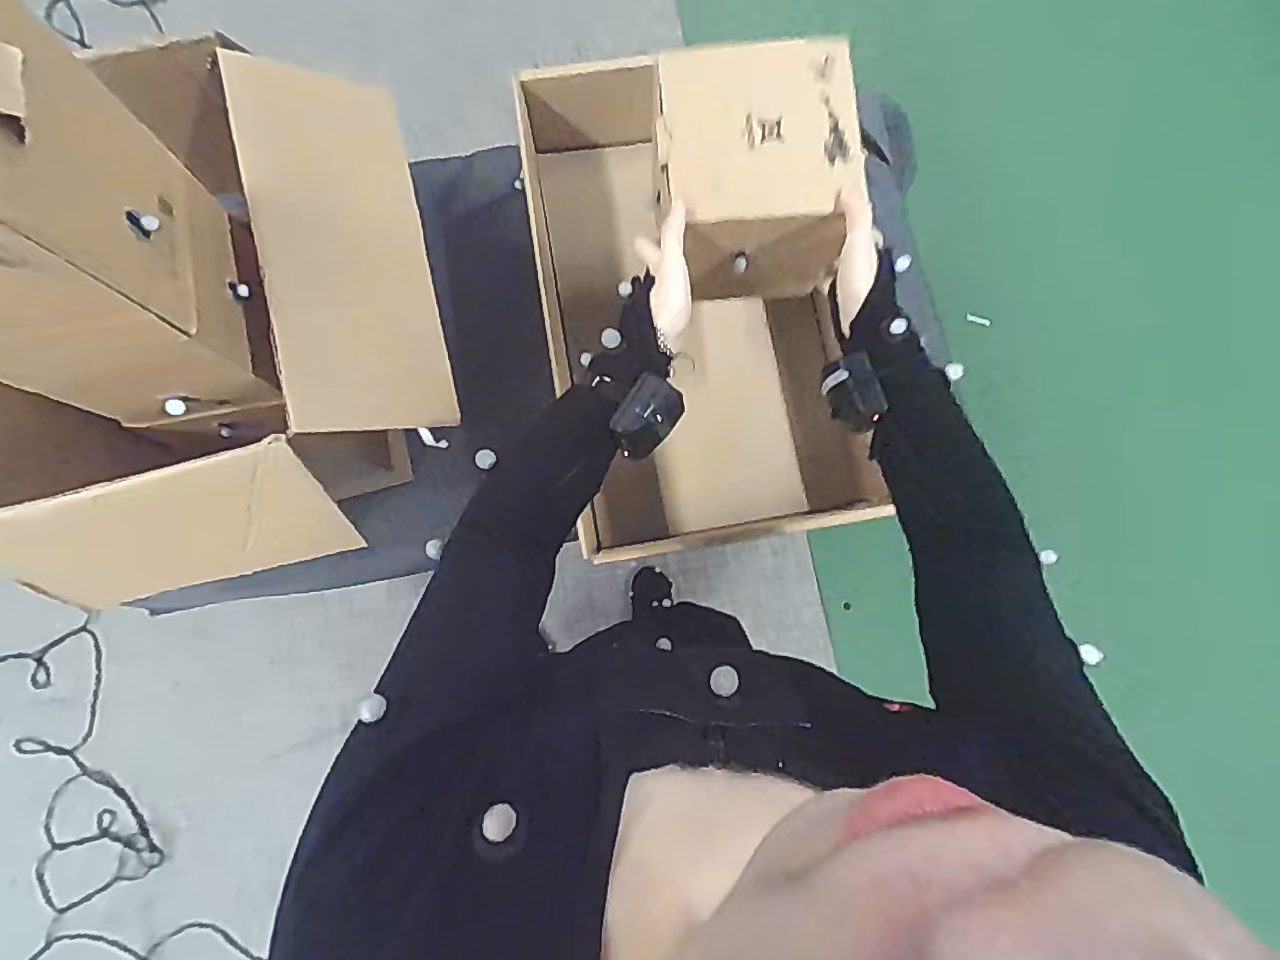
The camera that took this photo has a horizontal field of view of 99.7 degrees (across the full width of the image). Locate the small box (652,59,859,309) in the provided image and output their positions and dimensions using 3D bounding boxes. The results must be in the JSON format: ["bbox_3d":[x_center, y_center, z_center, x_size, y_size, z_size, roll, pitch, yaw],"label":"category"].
[{"bbox_3d":[0.106,-0.293,0.571,0.179,0.176,0.168,-4,83,0],"label":"small box"}]

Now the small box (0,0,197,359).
[{"bbox_3d":[-0.454,-0.194,0.367,0.179,0.176,0.168,-10,82,-9],"label":"small box"}]
